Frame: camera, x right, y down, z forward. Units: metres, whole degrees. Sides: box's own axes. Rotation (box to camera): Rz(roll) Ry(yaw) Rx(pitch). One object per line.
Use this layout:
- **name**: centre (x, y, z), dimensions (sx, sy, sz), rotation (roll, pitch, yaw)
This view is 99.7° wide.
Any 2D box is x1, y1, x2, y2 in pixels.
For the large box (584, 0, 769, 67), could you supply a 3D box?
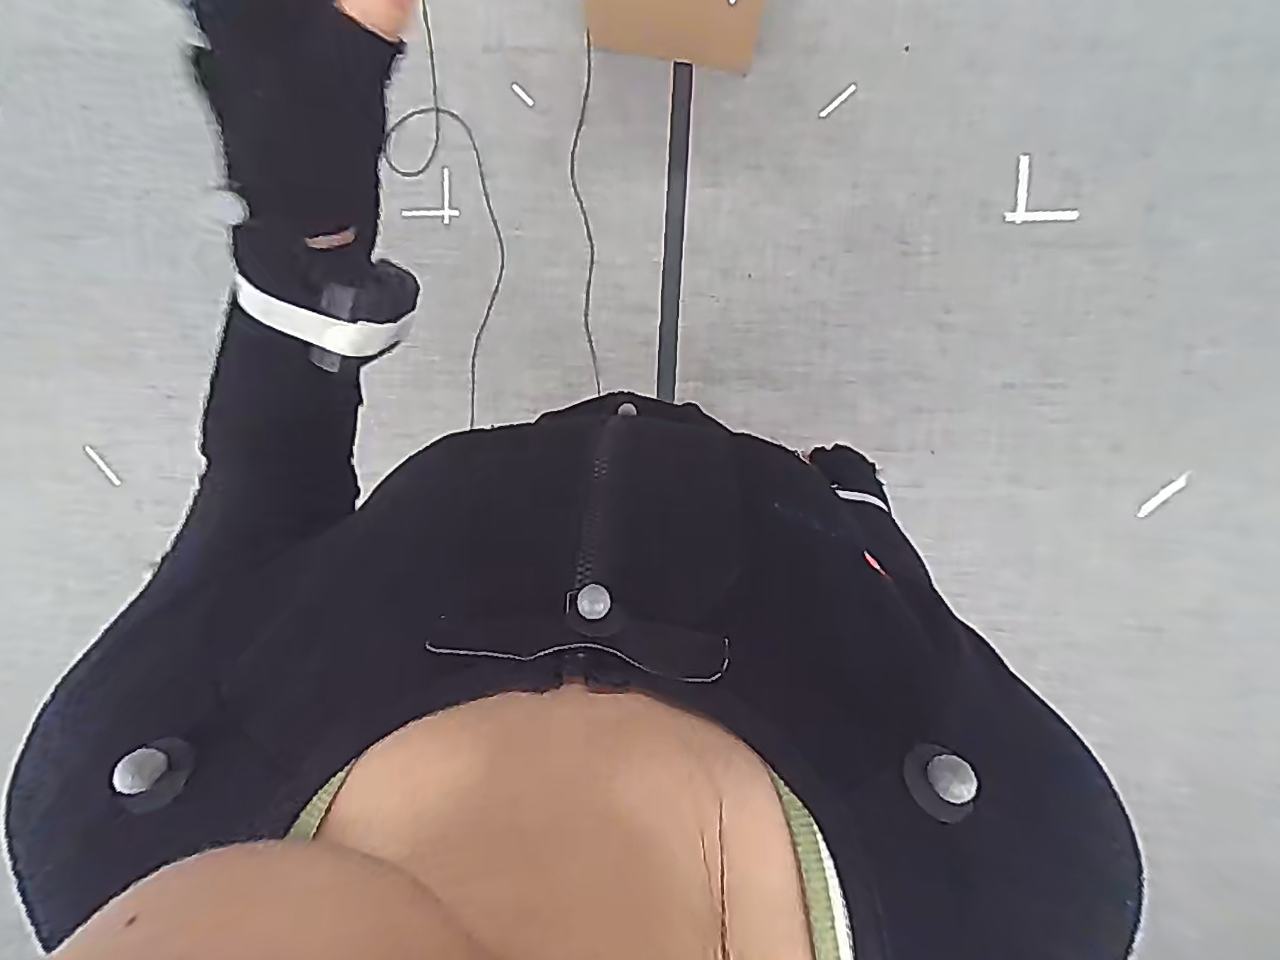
- **large box**: centre (0.095, -1.185, 1.187), dimensions (0.408, 0.320, 0.320), rotation (10, 97, 1)
